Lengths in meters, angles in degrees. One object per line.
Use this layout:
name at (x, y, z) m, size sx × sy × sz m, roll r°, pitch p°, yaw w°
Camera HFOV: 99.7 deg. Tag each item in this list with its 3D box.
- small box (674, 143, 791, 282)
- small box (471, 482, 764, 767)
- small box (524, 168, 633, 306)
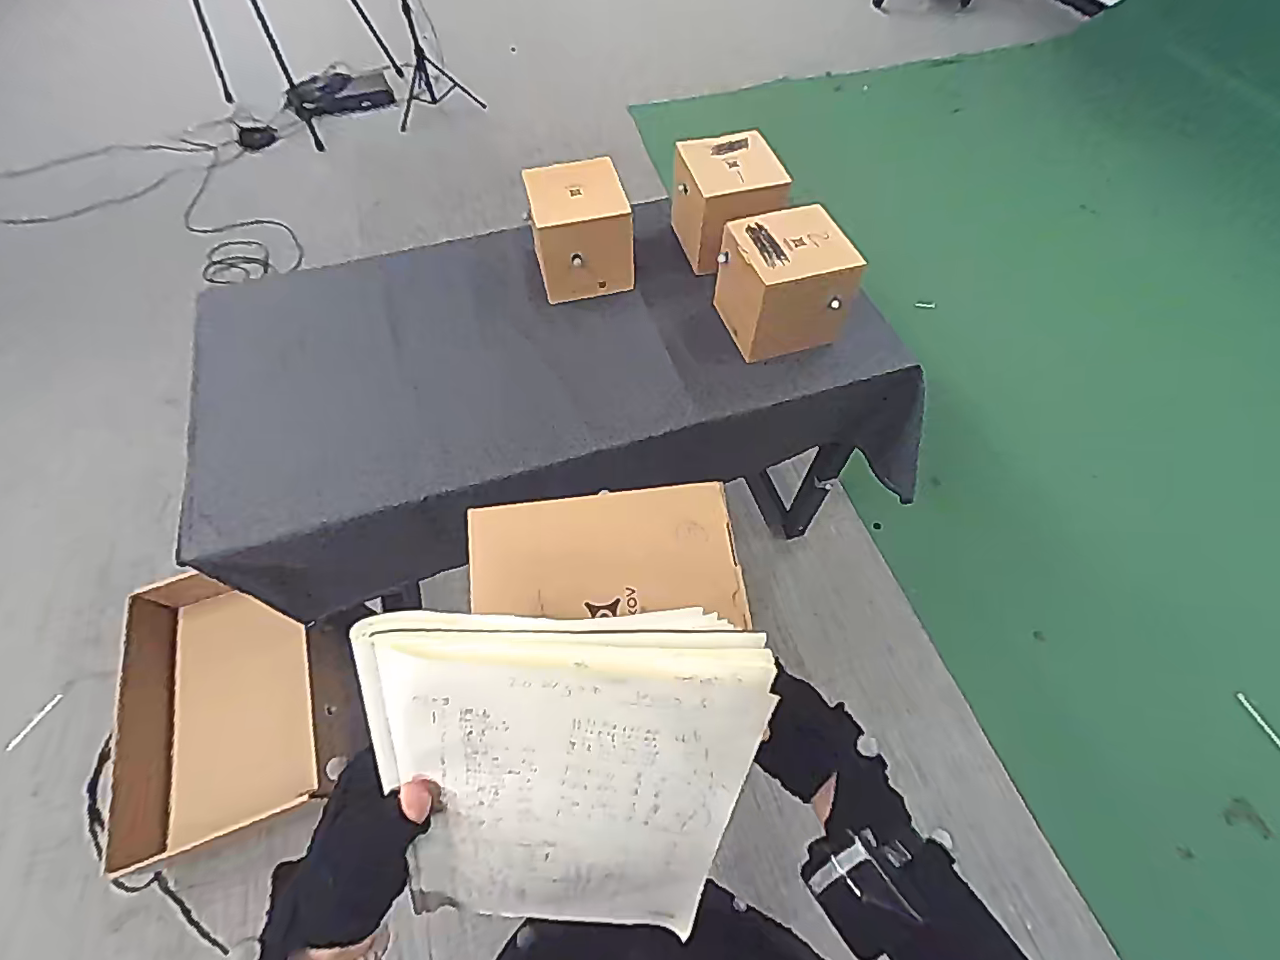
small box at (0.168, -0.518, 1.056) m, size 0.168 × 0.176 × 0.179 m, roll -13°, pitch 61°, yaw -7°
small box at (-0.022, 0.111, 0.418) m, size 0.179 × 0.176 × 0.168 m, roll -5°, pitch 69°, yaw -4°
small box at (-0.110, -0.448, 1.018) m, size 0.168 × 0.176 × 0.179 m, roll -13°, pitch 59°, yaw -7°
